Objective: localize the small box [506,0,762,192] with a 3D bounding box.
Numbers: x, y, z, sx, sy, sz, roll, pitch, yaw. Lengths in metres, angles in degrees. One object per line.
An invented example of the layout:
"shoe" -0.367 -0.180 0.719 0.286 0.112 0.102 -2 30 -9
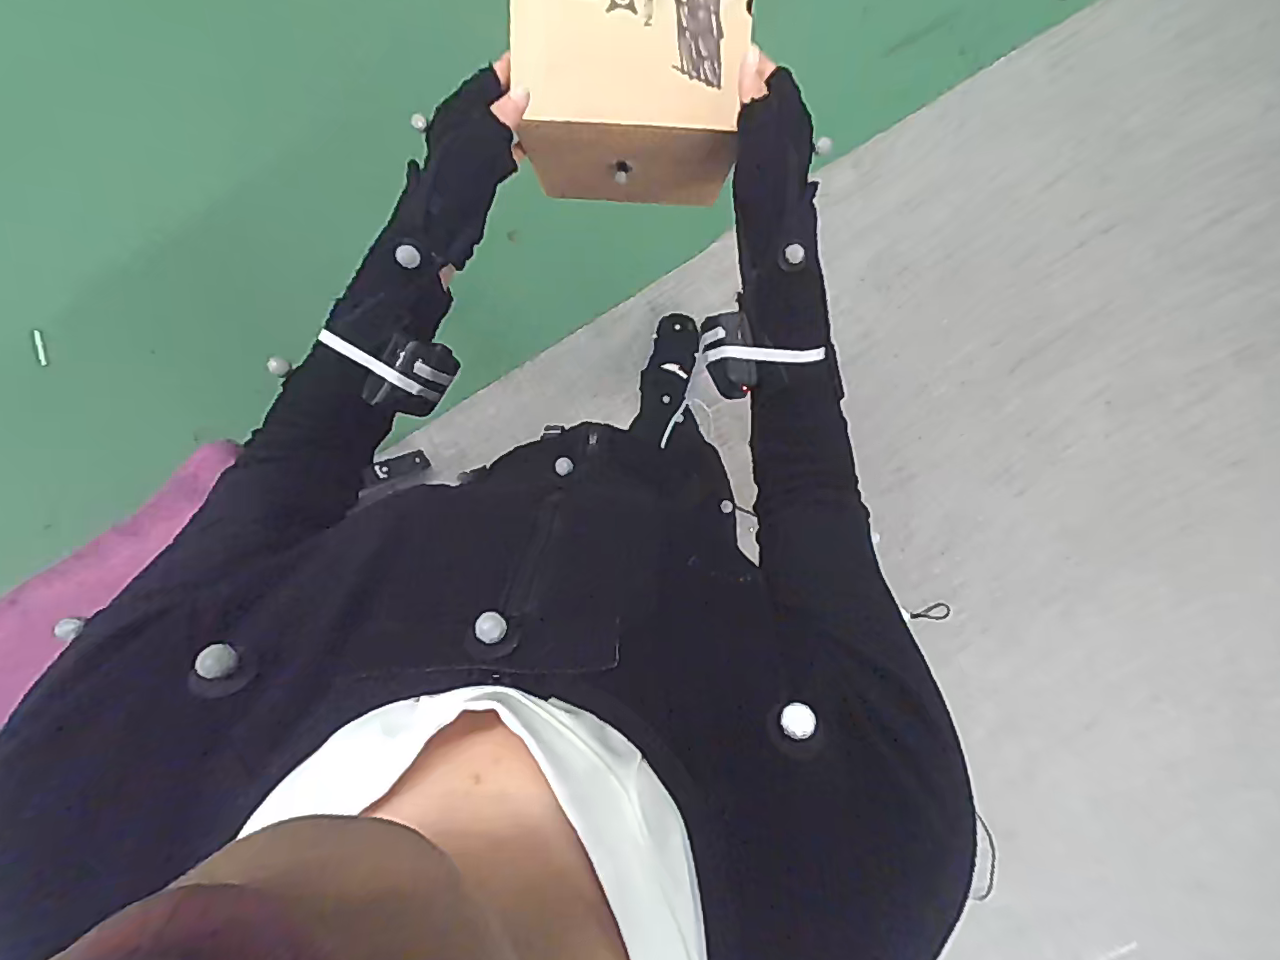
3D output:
"small box" -0.003 -0.360 0.449 0.179 0.176 0.168 5 99 -2
